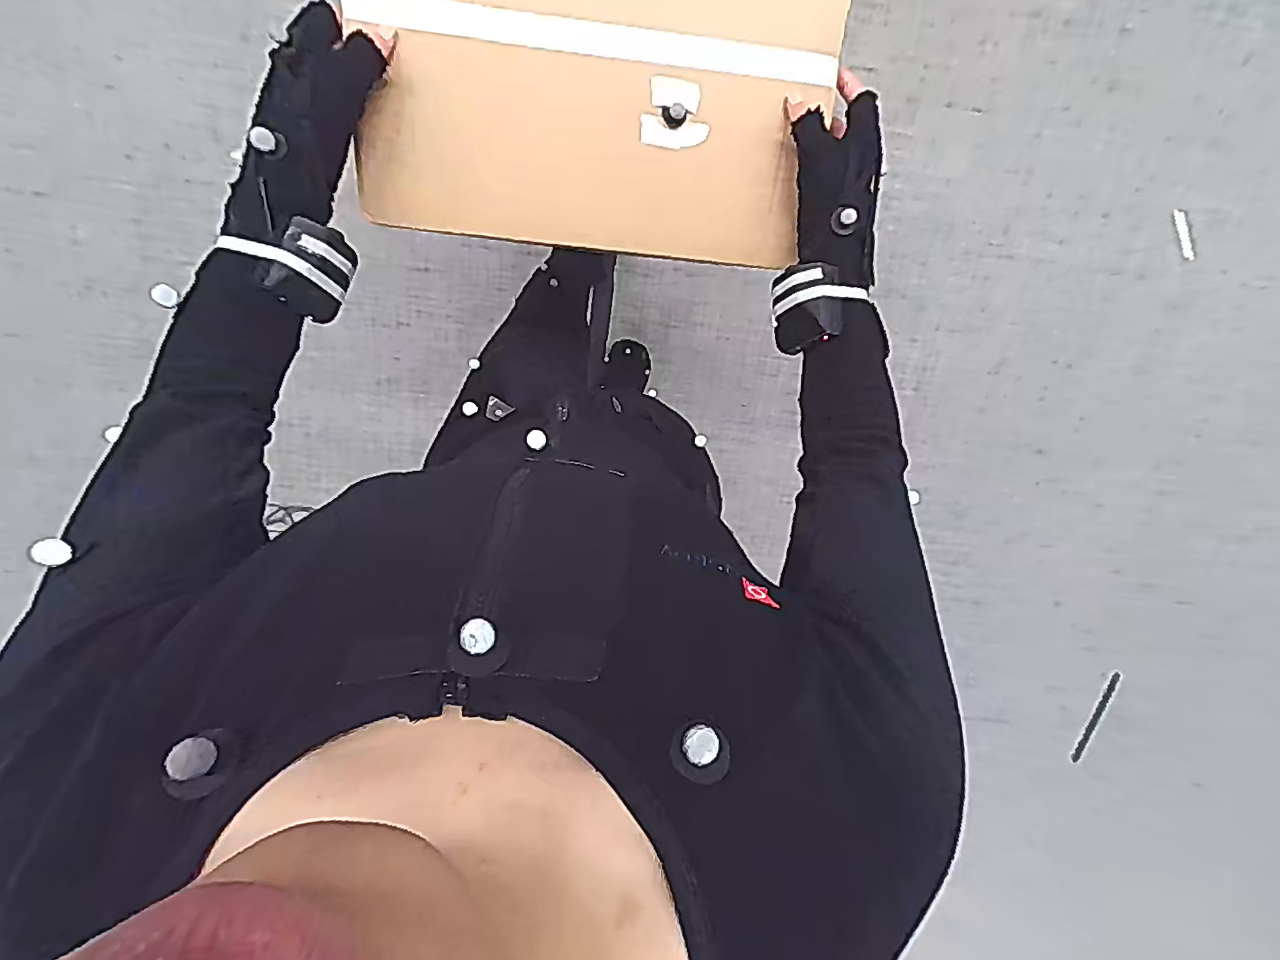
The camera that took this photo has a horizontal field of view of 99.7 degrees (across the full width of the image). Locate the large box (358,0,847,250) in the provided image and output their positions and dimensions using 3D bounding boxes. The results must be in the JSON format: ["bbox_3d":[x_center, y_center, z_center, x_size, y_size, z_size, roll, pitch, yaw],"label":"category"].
[{"bbox_3d":[-0.040,-0.432,0.584,0.408,0.320,0.320,3,113,-6],"label":"large box"}]
